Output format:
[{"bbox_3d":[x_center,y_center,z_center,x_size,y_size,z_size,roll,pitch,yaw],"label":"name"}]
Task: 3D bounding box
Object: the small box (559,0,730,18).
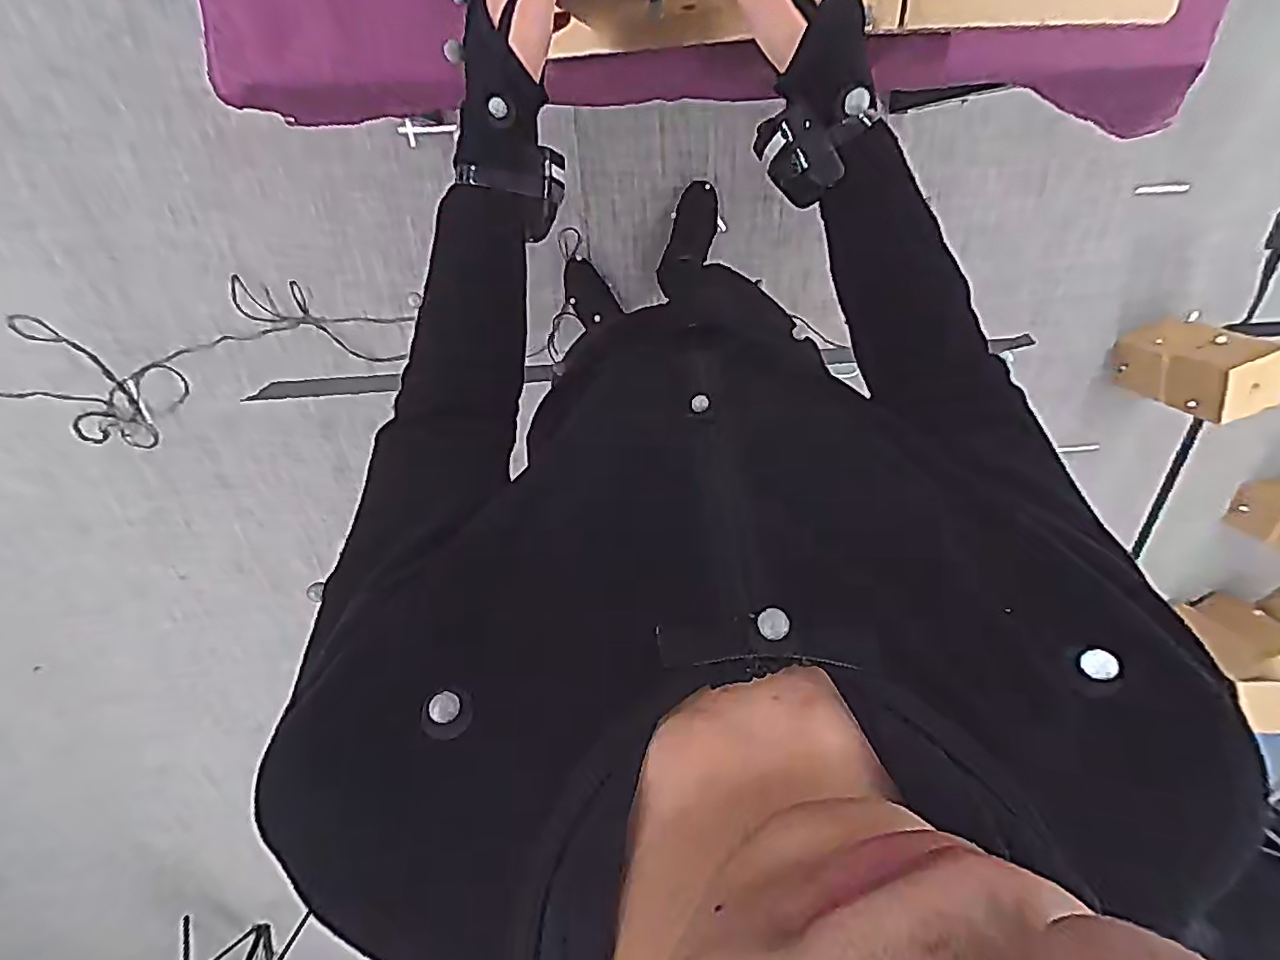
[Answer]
[{"bbox_3d":[0.003,-0.489,0.419,0.168,0.176,0.179,2,121,14],"label":"small box"}]
